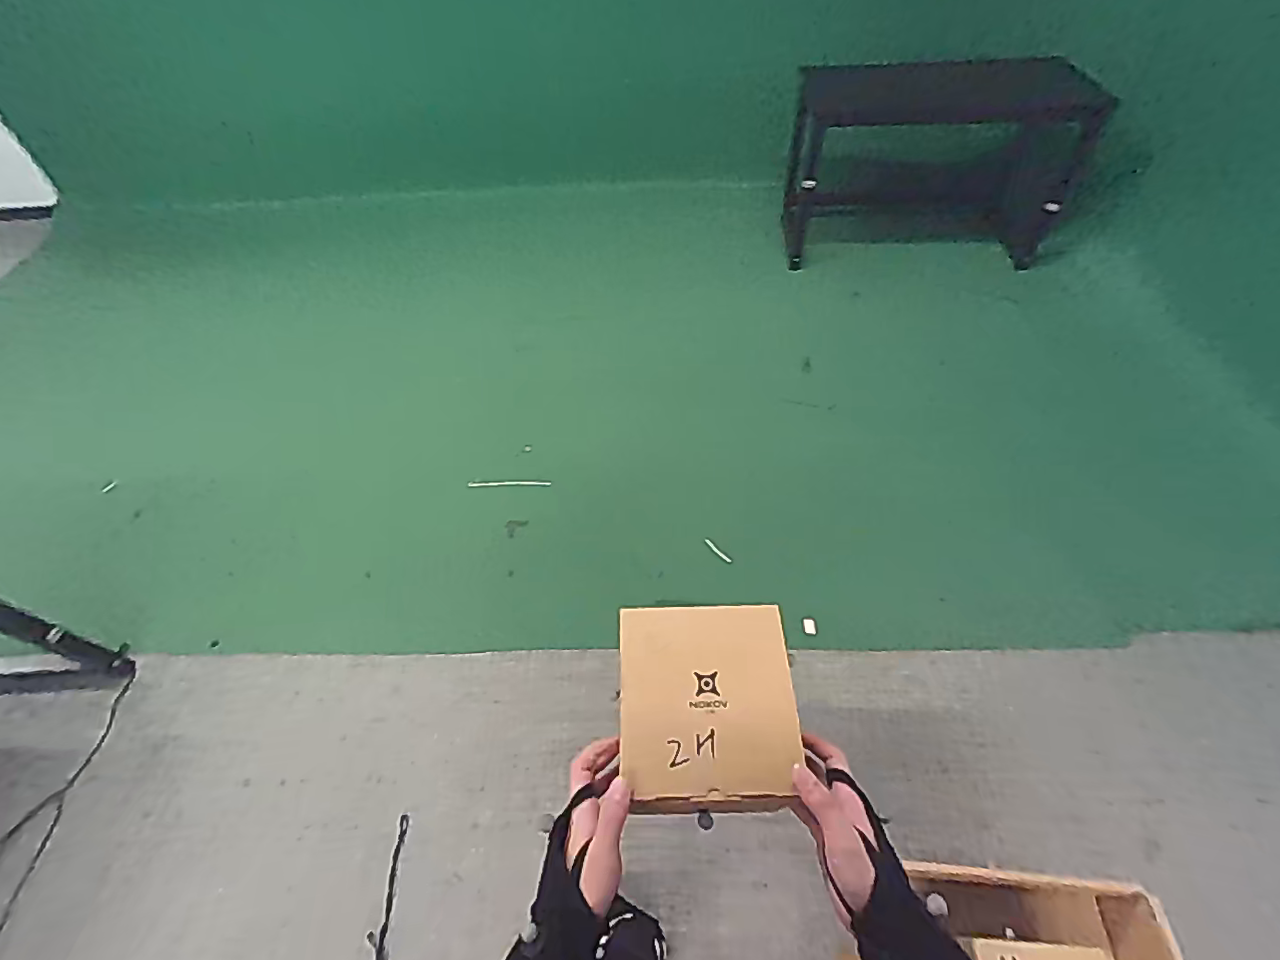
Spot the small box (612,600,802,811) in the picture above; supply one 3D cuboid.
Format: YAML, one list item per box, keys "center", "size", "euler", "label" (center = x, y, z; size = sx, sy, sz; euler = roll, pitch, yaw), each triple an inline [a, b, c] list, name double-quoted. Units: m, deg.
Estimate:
- center: [0.058, 0.242, 0.574]
  size: [0.168, 0.176, 0.179]
  euler: [-1, 55, 1]
  label: "small box"
